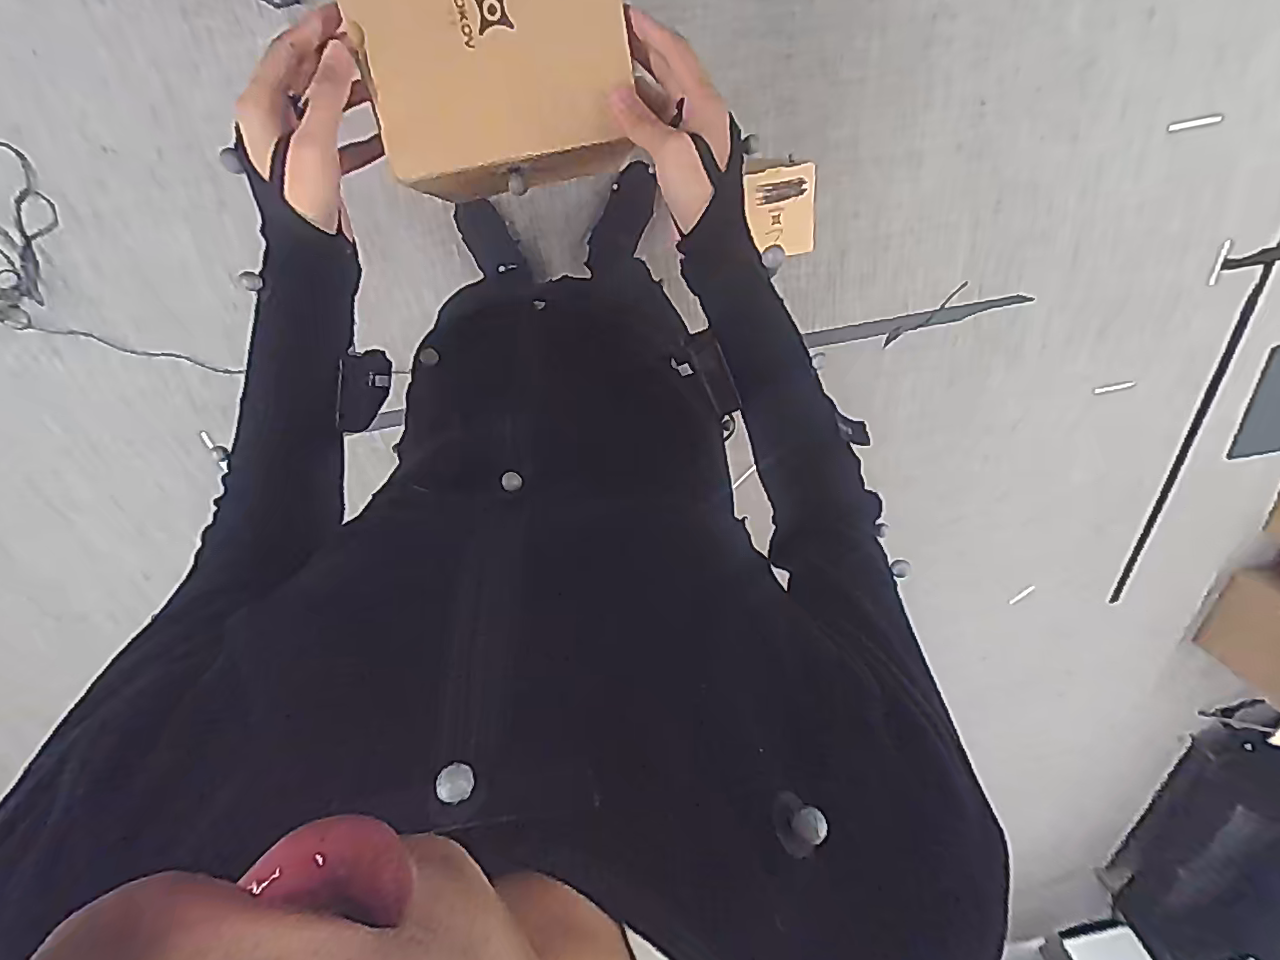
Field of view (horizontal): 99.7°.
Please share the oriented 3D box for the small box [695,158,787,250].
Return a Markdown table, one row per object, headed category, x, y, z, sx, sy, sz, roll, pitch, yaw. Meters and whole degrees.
| category | x | y | z | sx | sy | sz | roll | pitch | yaw |
| --- | --- | --- | --- | --- | --- | --- | --- | --- | --- |
| small box | 0.246 | -0.682 | 1.329 | 0.179 | 0.176 | 0.168 | -13 | 123 | -1 |
